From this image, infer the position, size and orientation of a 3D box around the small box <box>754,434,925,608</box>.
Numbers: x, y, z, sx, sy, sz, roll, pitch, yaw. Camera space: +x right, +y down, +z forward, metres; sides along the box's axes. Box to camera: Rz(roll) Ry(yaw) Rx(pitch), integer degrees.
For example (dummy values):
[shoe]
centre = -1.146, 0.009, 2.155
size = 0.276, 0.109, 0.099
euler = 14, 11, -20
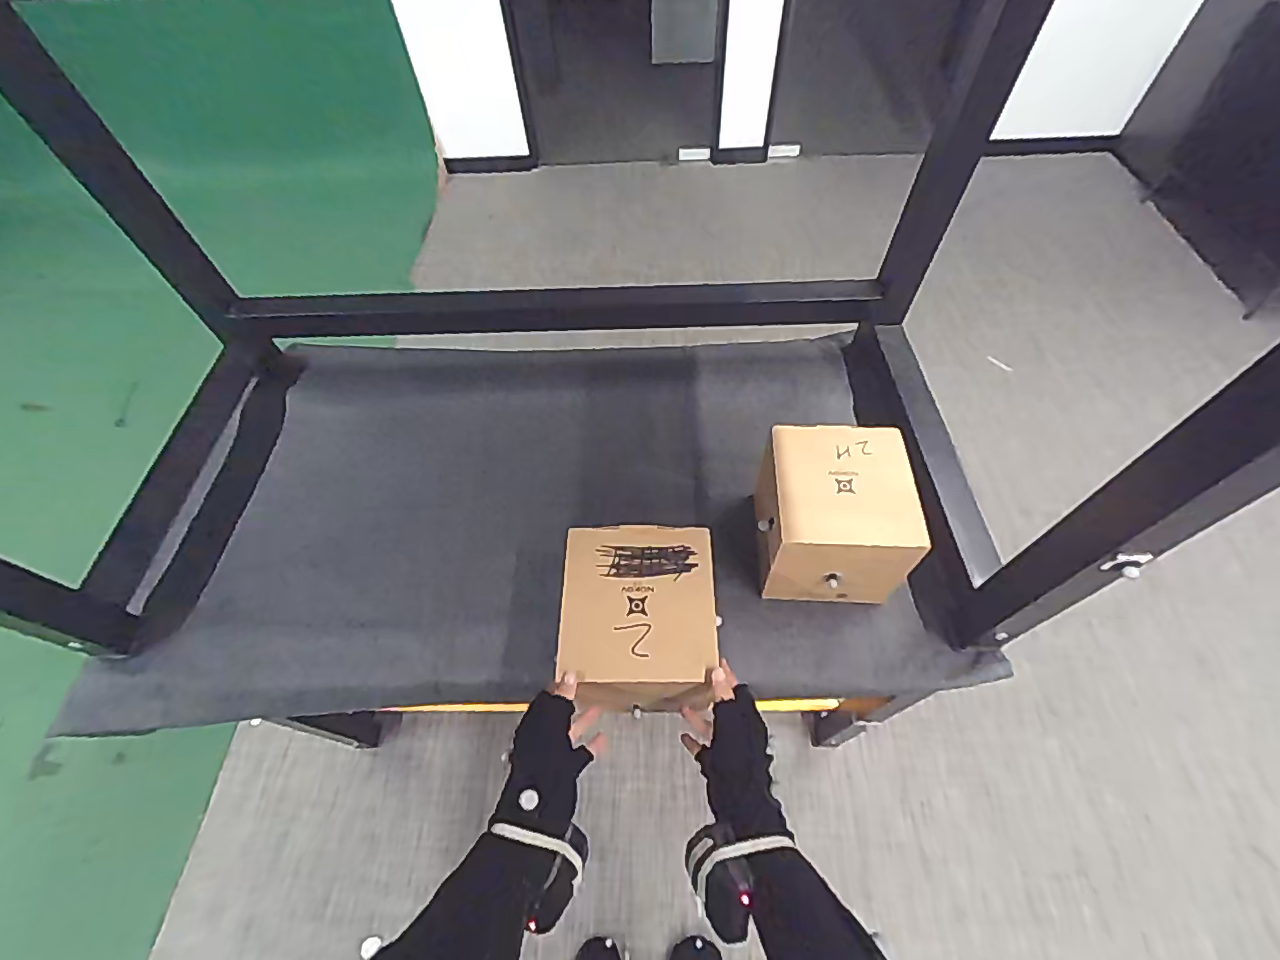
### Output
[small box]
centre = 0.247, 0.059, 0.719
size = 0.168, 0.176, 0.179
euler = 2, 55, 4
